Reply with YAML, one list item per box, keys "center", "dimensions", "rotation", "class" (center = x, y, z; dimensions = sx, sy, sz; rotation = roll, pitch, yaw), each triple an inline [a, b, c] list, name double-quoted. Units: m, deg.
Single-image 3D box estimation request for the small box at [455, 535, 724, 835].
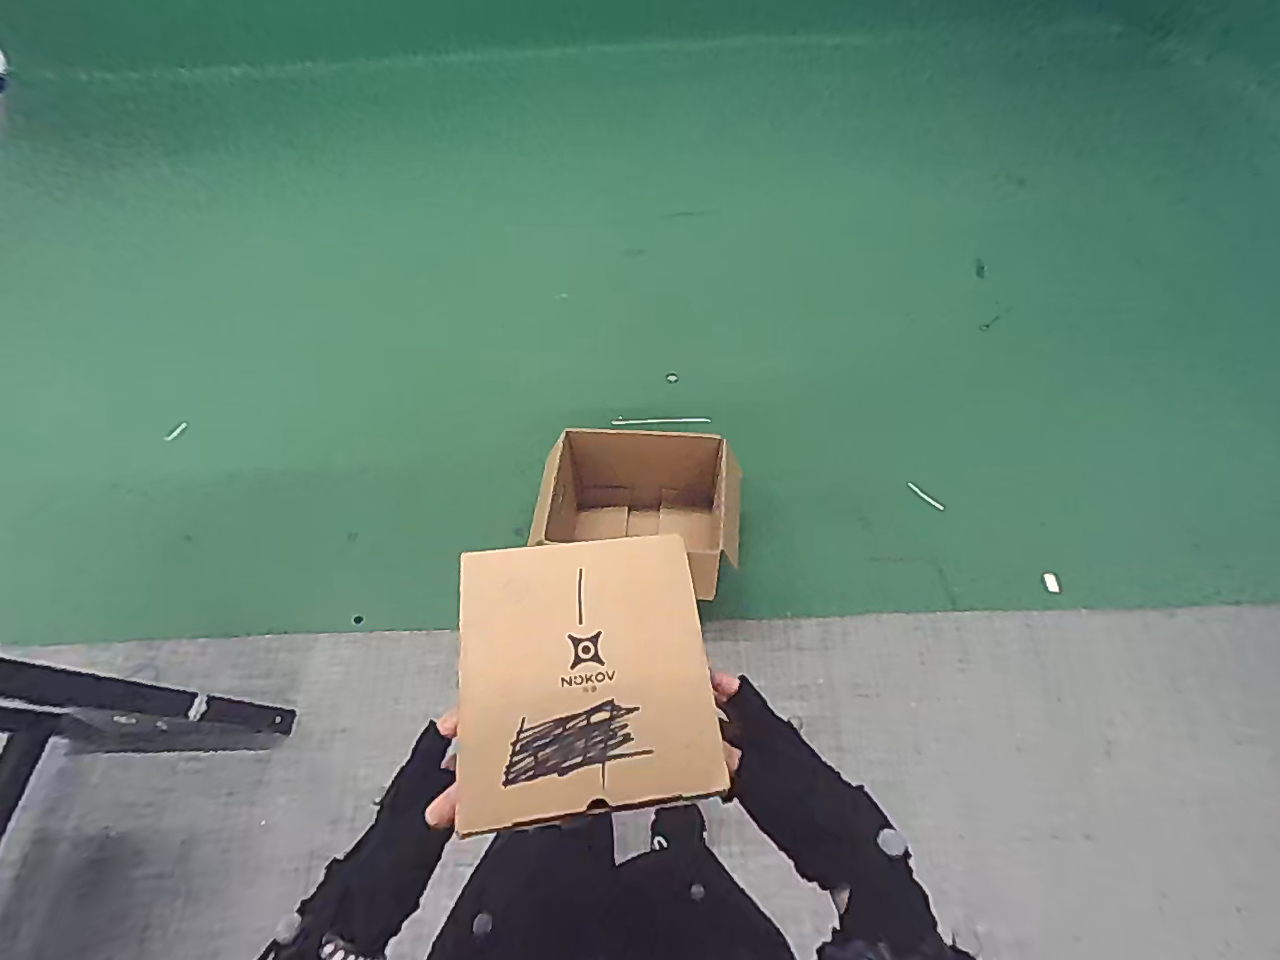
- center: [-0.043, 0.161, 0.430]
  dimensions: [0.168, 0.176, 0.179]
  rotation: [-4, 61, -8]
  class: "small box"
